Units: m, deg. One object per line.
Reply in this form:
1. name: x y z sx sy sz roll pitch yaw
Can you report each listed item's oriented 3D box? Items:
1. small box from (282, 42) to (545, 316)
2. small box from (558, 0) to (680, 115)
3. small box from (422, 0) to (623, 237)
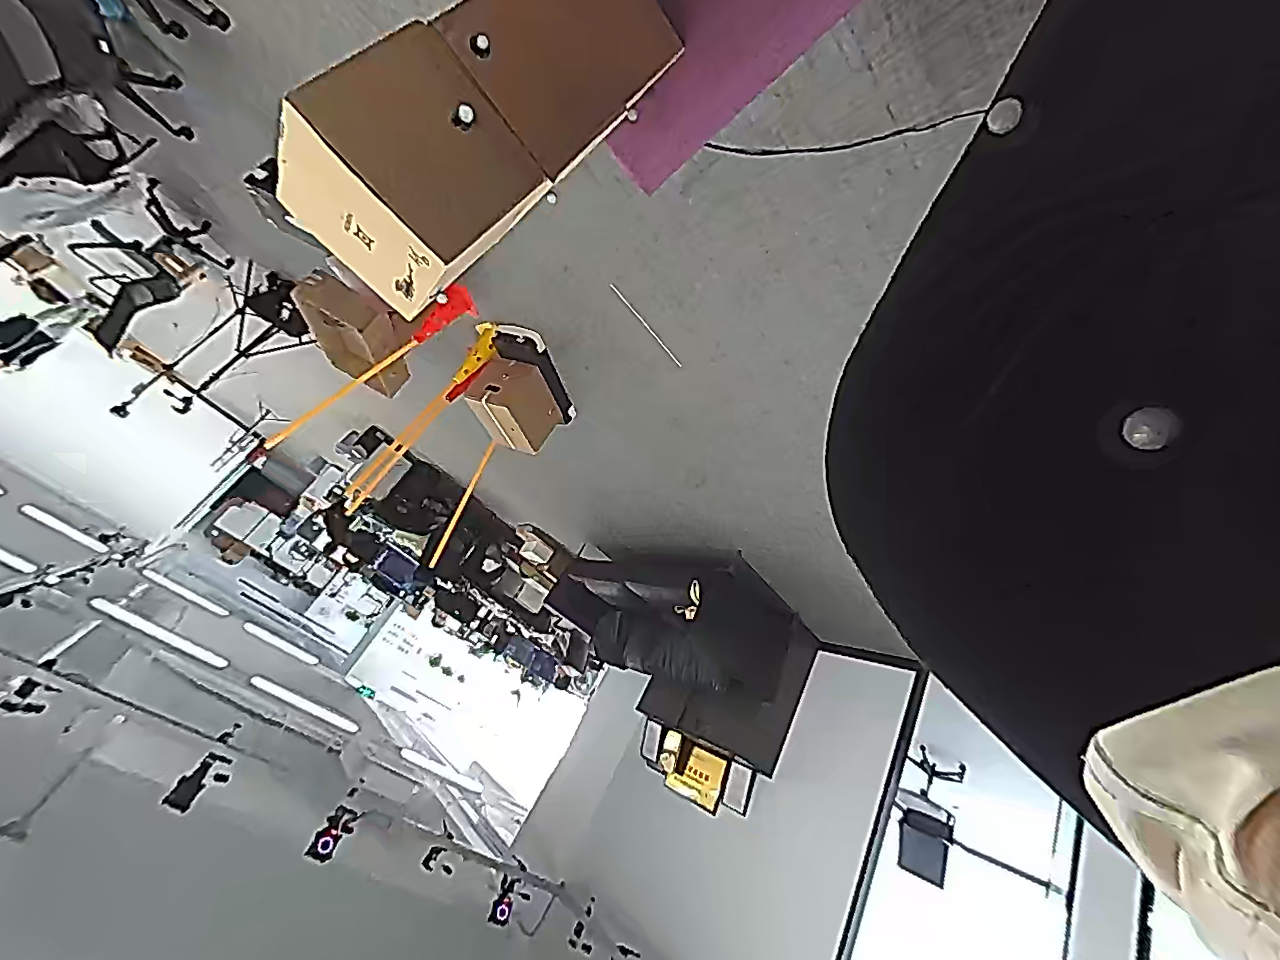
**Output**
1. small box: -0.238 -0.316 0.577 0.179 0.176 0.168 46 153 -23
2. small box: -0.081 -0.567 0.715 0.179 0.176 0.168 45 152 -26
3. small box: -0.152 -0.438 0.647 0.179 0.176 0.168 47 152 -26
